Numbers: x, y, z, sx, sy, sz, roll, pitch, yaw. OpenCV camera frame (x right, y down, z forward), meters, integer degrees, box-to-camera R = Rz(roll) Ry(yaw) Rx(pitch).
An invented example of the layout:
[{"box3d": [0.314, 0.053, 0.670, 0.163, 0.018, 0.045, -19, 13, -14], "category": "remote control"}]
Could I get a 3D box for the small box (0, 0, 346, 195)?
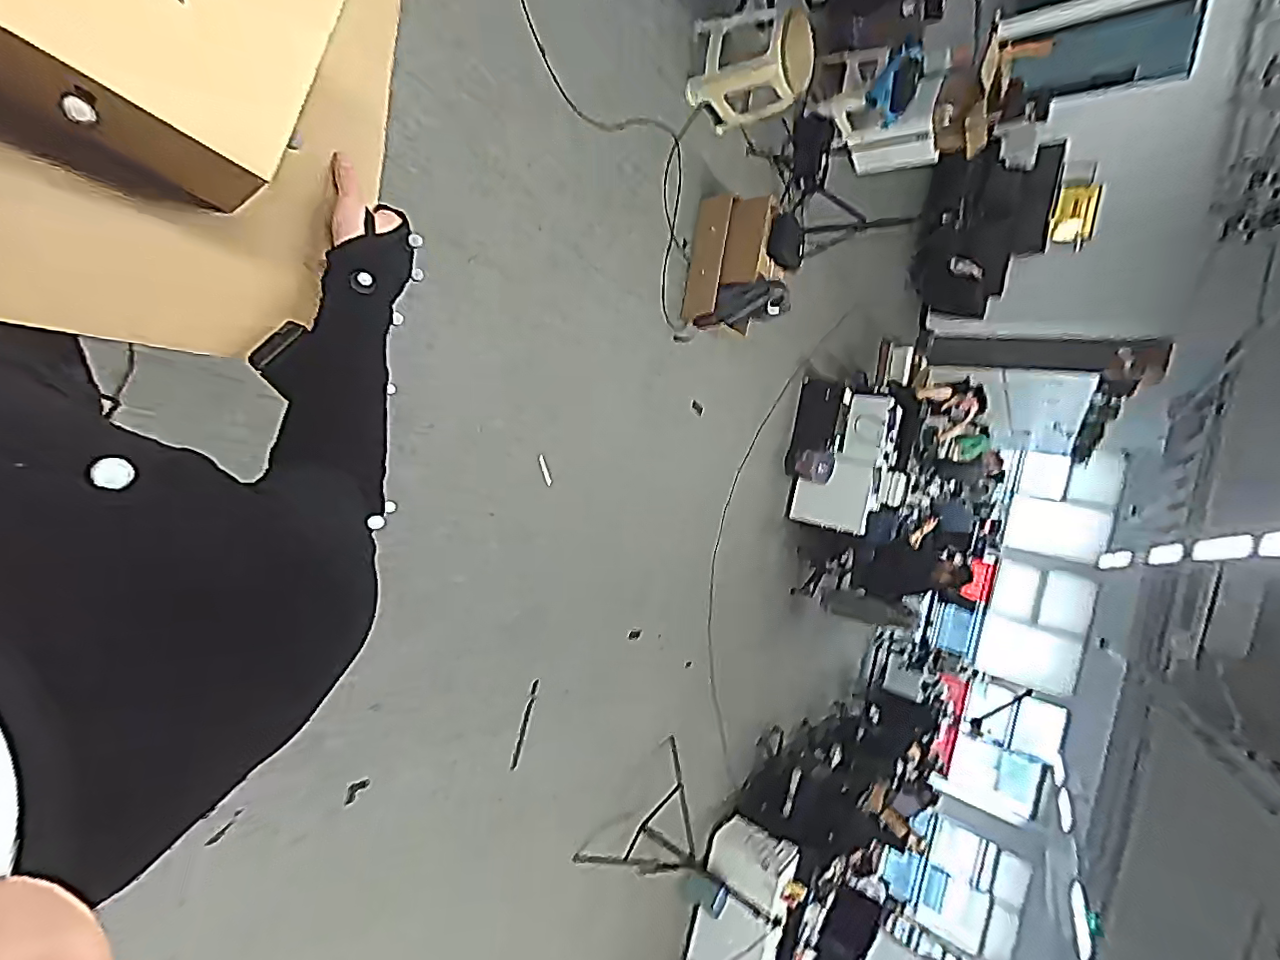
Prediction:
[{"box3d": [-0.349, -0.333, 0.388, 0.179, 0.176, 0.168, 21, 87, -45], "category": "small box"}]
